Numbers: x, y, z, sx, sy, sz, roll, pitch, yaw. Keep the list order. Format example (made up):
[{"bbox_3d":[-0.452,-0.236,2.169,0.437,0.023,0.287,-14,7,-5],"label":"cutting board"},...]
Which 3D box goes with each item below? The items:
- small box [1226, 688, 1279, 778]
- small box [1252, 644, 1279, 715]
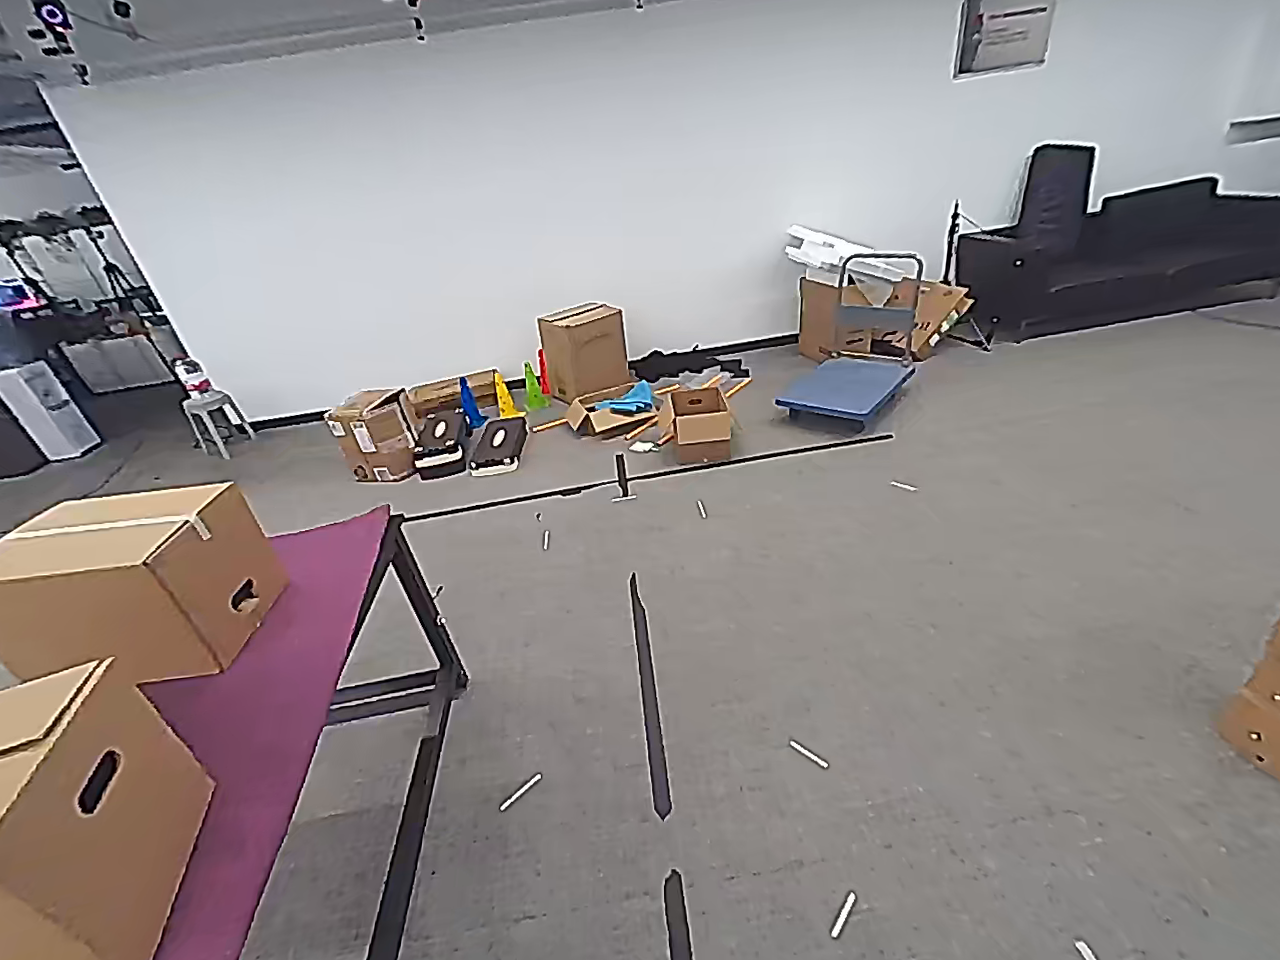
[{"bbox_3d":[1.685,0.644,1.392,0.179,0.176,0.168,-10,30,-4],"label":"small box"},{"bbox_3d":[1.673,0.505,1.309,0.179,0.176,0.168,-10,30,-1],"label":"small box"}]
